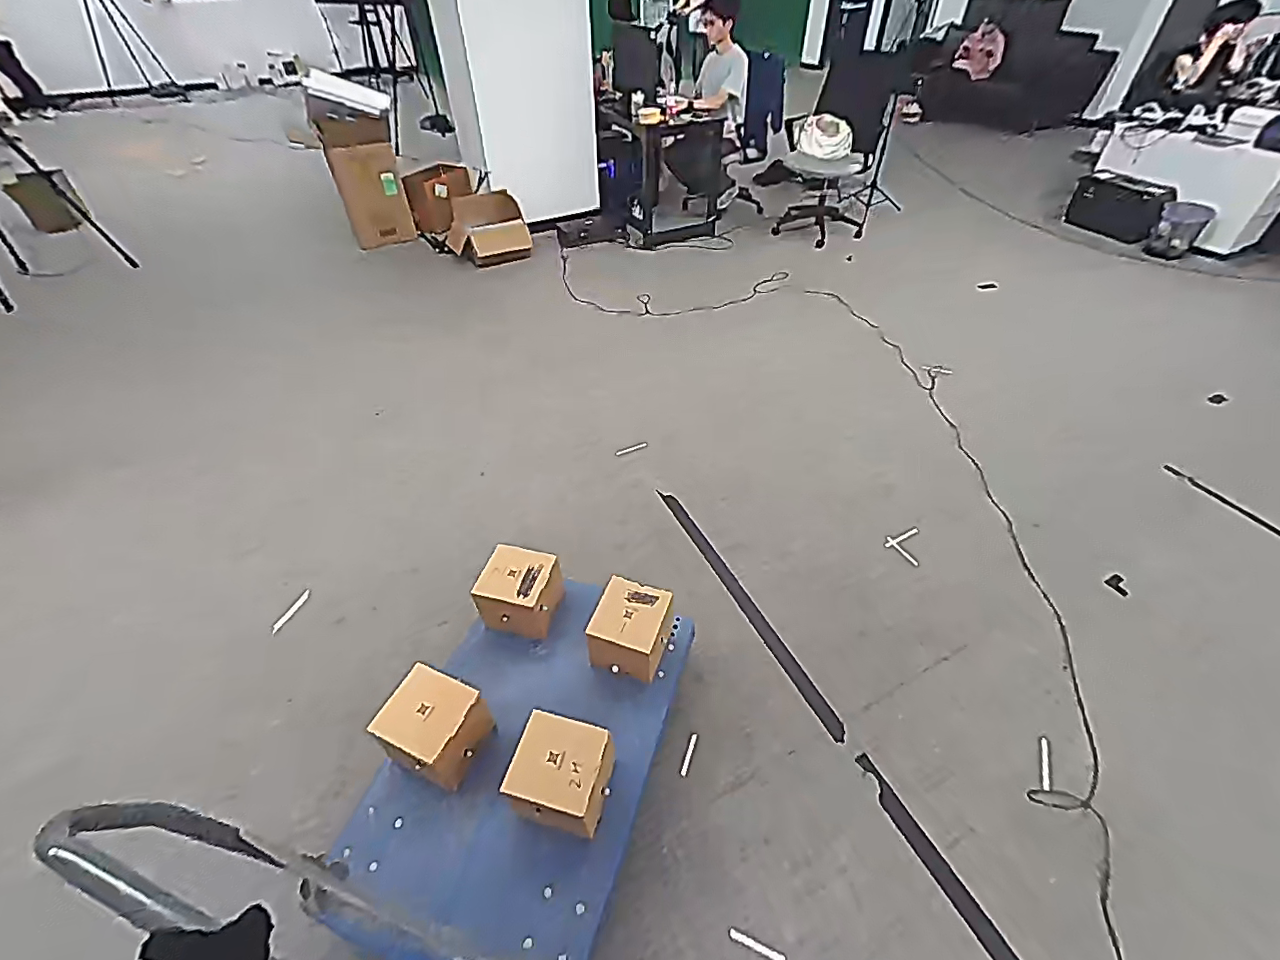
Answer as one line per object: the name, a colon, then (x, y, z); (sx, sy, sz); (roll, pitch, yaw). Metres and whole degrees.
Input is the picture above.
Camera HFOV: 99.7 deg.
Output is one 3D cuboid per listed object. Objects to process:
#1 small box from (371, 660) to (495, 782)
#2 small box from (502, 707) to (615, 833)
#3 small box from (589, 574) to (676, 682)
small box: (-0.451, 0.540, 1.208); (0.179, 0.176, 0.168); (17, 47, 16)
small box: (-0.160, 0.608, 1.130); (0.179, 0.176, 0.168); (11, 46, 12)
small box: (-0.015, 0.374, 1.365); (0.168, 0.176, 0.179); (14, 48, 16)
